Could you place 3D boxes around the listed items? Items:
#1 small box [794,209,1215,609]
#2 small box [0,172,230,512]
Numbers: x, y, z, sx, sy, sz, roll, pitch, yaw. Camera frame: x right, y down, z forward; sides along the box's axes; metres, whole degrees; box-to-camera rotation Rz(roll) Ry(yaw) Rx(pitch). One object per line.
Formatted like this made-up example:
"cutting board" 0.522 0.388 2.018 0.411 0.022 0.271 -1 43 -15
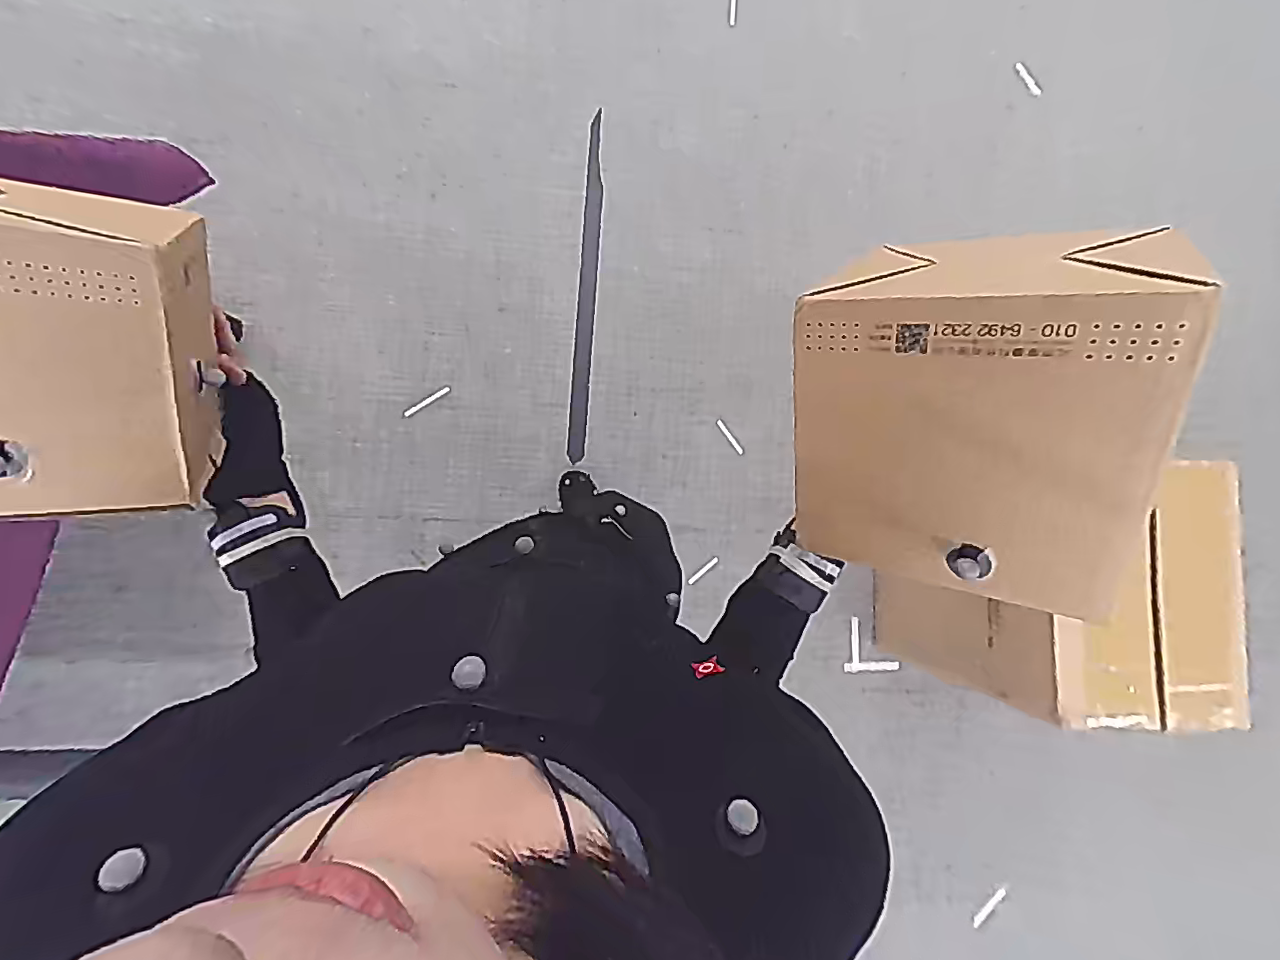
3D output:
"small box" 0.205 -0.059 0.332 0.179 0.168 0.176 -39 129 -42
"small box" -0.379 -0.094 0.334 0.179 0.168 0.176 -2 118 -30
